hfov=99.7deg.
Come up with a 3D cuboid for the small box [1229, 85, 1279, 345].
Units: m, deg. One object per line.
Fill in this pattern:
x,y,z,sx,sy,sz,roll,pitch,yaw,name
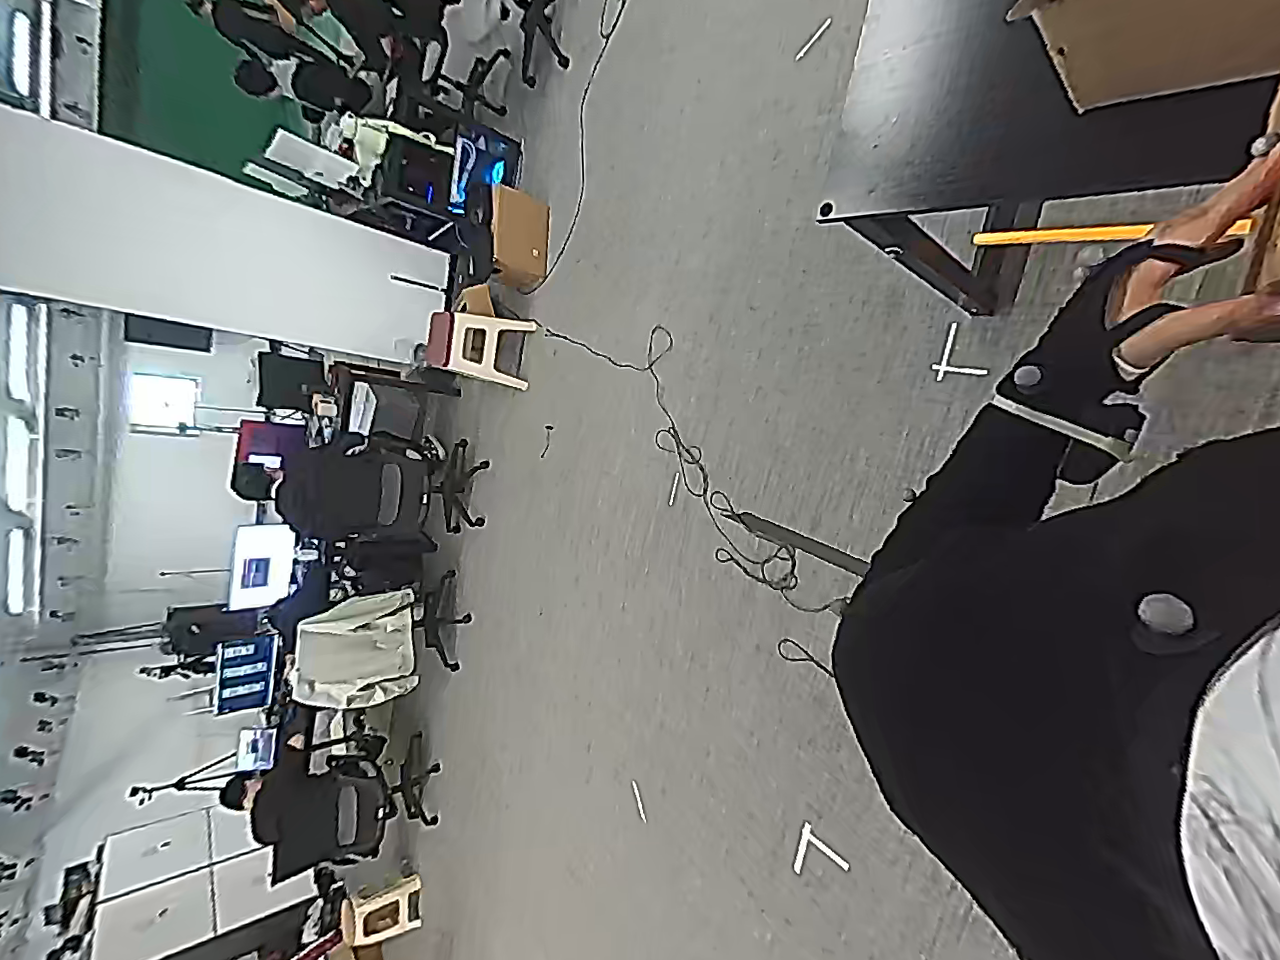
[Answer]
0.450,-0.176,0.283,0.168,0.176,0.179,10,97,42,small box
